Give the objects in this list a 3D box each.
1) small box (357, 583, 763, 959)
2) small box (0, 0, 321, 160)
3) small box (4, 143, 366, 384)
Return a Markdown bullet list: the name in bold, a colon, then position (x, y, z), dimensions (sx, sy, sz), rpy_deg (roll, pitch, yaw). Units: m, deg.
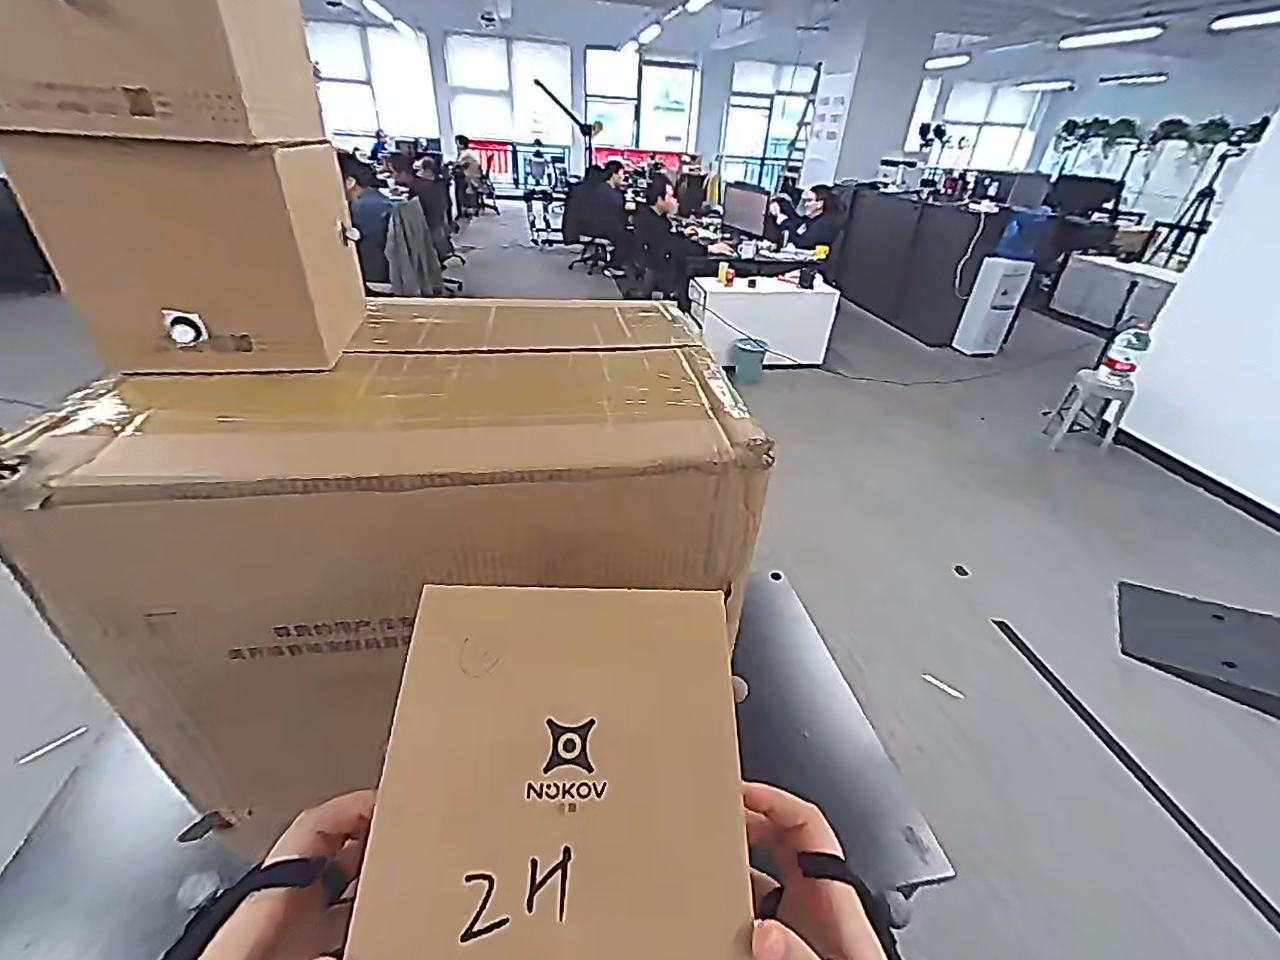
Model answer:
- **small box**: position (-0.036, 0.176, 0.323), dimensions (0.168, 0.176, 0.179), rpy_deg (1, 57, -3)
- **small box**: position (-0.348, -0.324, 0.375), dimensions (0.168, 0.176, 0.179), rpy_deg (-4, 33, -12)
- **small box**: position (-0.357, -0.195, 0.476), dimensions (0.168, 0.176, 0.179), rpy_deg (-6, 34, -13)
